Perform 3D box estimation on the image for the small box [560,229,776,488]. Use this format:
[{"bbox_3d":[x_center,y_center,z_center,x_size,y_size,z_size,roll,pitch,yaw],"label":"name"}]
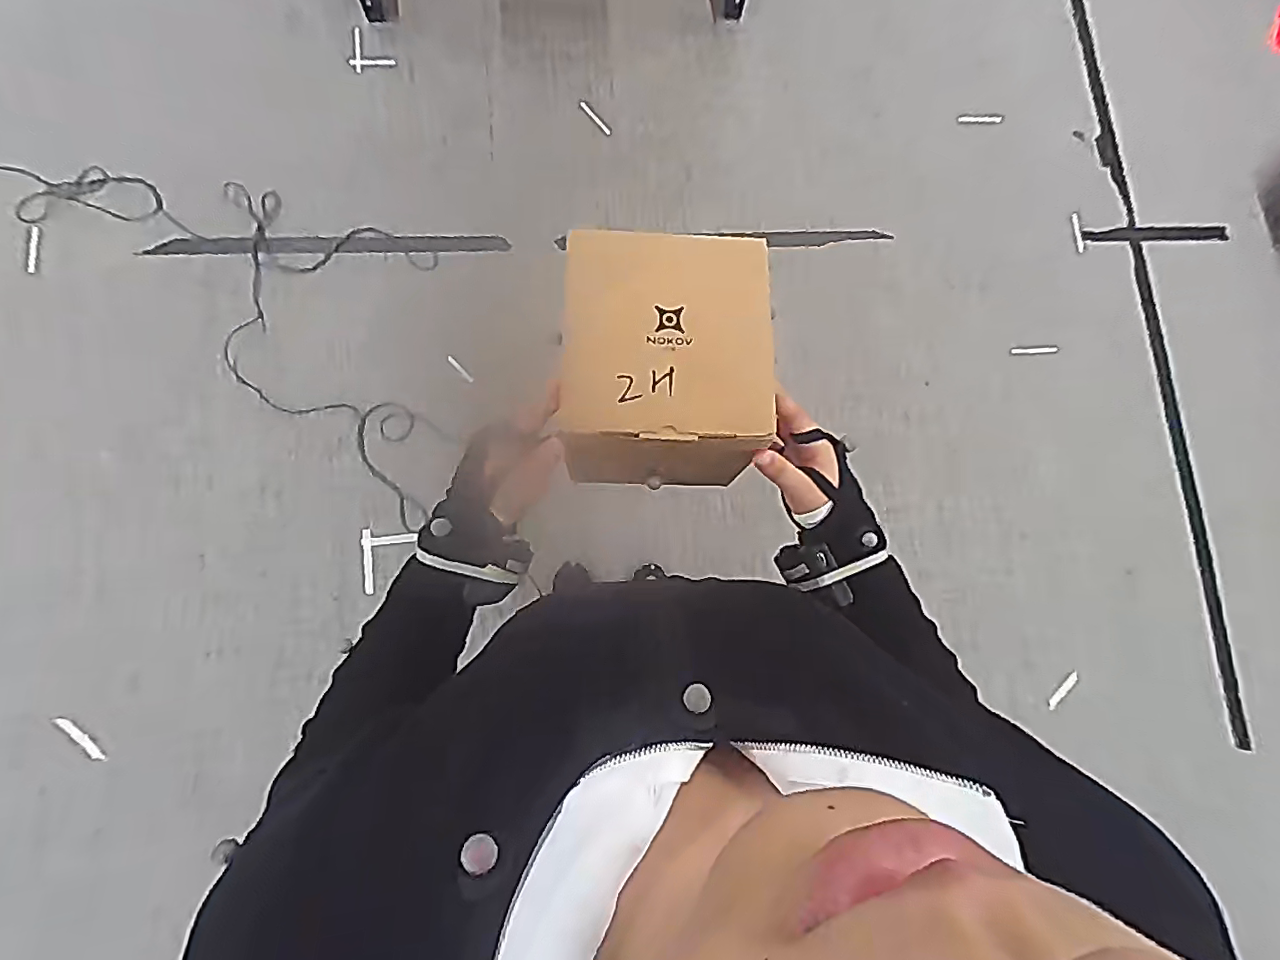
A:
[{"bbox_3d":[0.018,-0.098,0.499,0.168,0.176,0.179,1,76,-2],"label":"small box"}]
